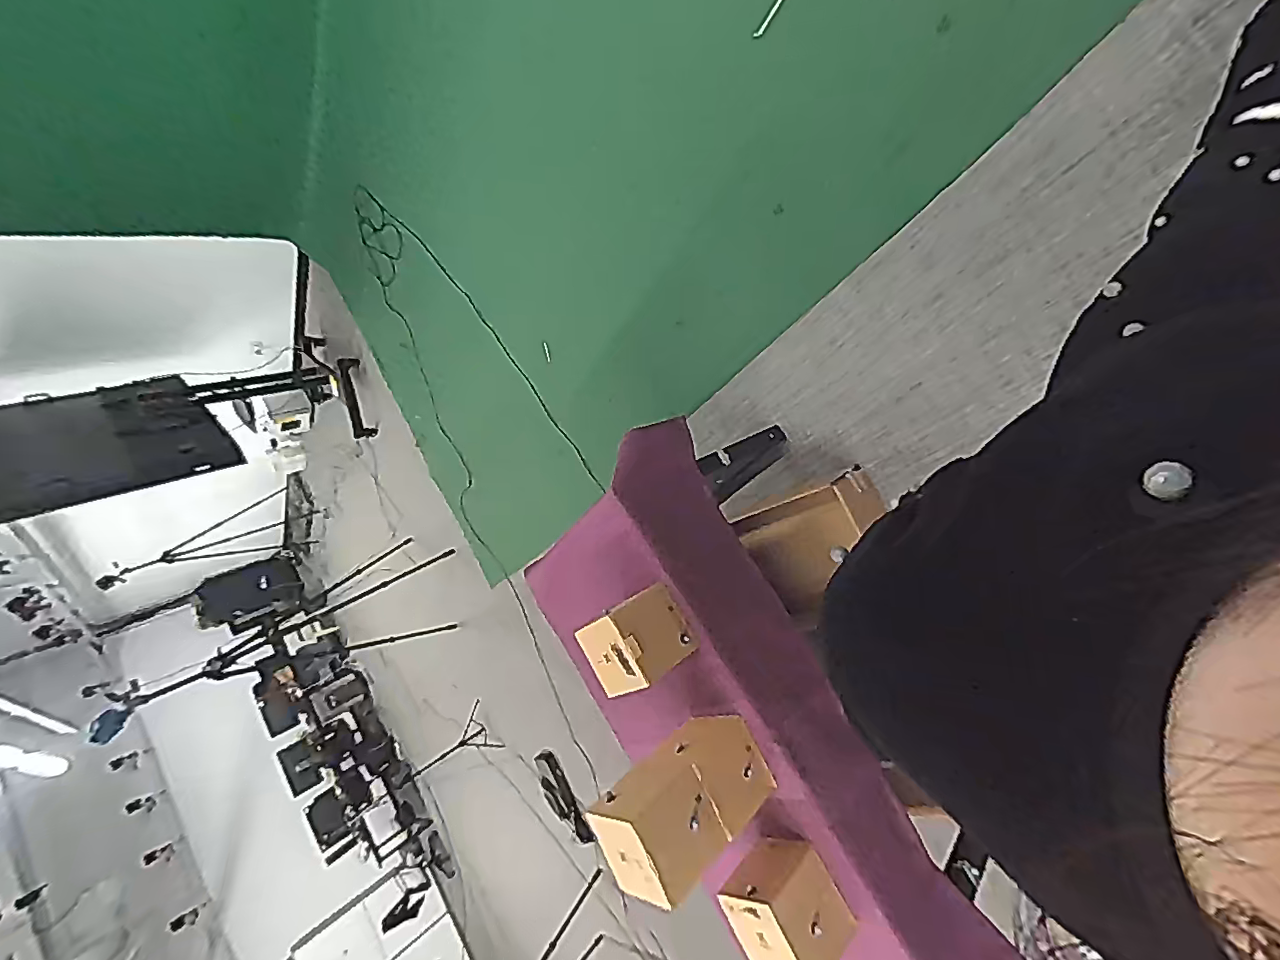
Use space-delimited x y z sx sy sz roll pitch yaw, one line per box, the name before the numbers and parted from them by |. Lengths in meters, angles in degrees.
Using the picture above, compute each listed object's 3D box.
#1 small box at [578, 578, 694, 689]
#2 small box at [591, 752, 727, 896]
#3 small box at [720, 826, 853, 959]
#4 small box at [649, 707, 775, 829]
small box | -0.002 0.342 1.219 0.168 0.176 0.179 59 139 8
small box | 0.039 0.670 1.079 0.179 0.176 0.168 -31 85 49
small box | 0.310 0.870 1.133 0.168 0.176 0.179 -40 79 47
small box | 0.158 0.618 1.181 0.179 0.176 0.168 -33 83 48
